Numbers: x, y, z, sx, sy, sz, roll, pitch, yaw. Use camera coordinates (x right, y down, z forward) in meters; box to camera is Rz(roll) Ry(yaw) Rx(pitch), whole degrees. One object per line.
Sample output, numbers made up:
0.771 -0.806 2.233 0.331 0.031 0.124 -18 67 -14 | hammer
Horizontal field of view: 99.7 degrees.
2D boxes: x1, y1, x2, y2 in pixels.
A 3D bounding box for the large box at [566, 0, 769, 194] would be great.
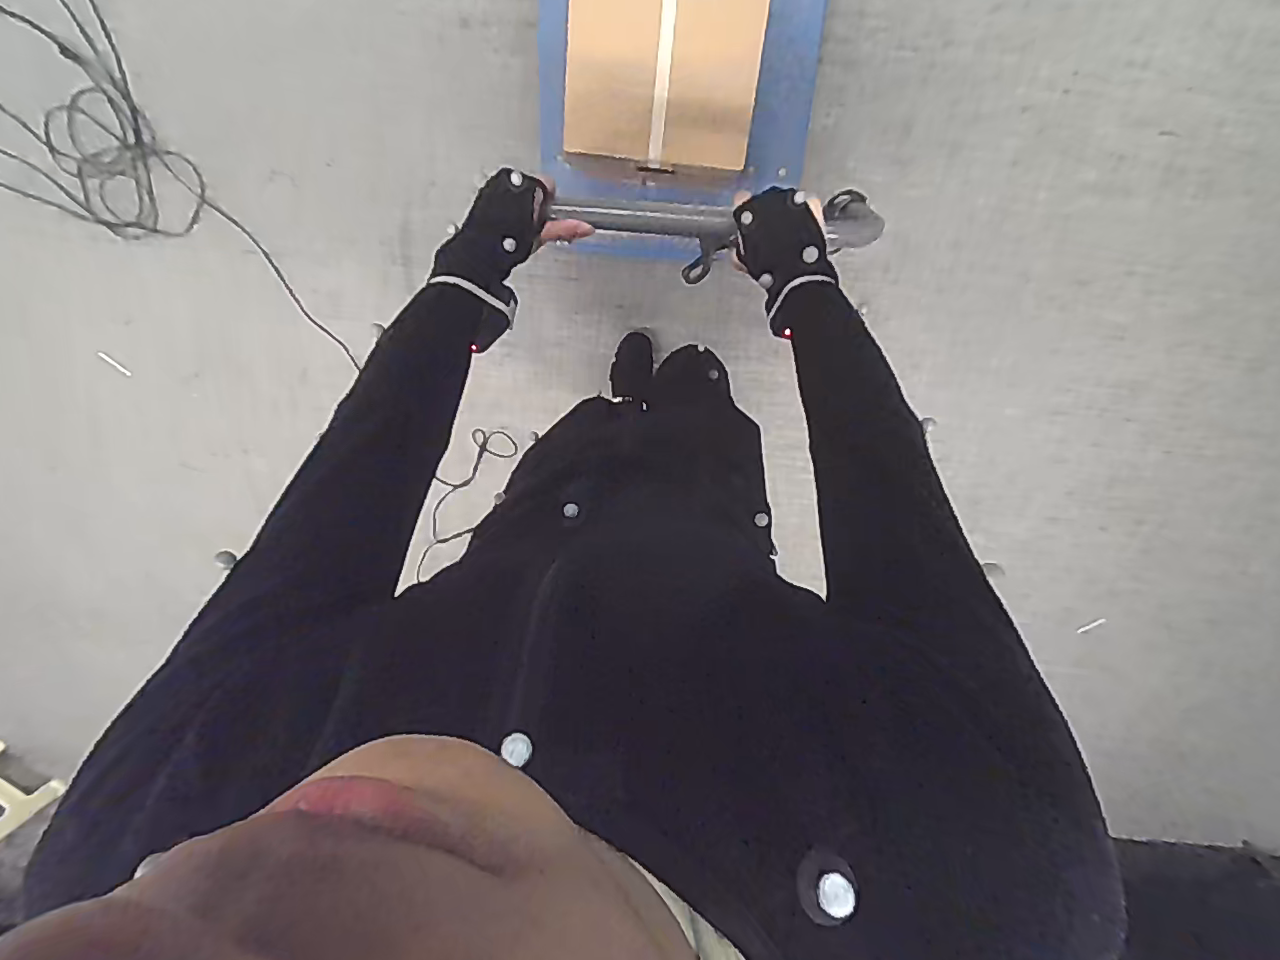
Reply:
0.051 -0.779 0.996 0.320 0.320 0.408 6 111 -1 | large box
